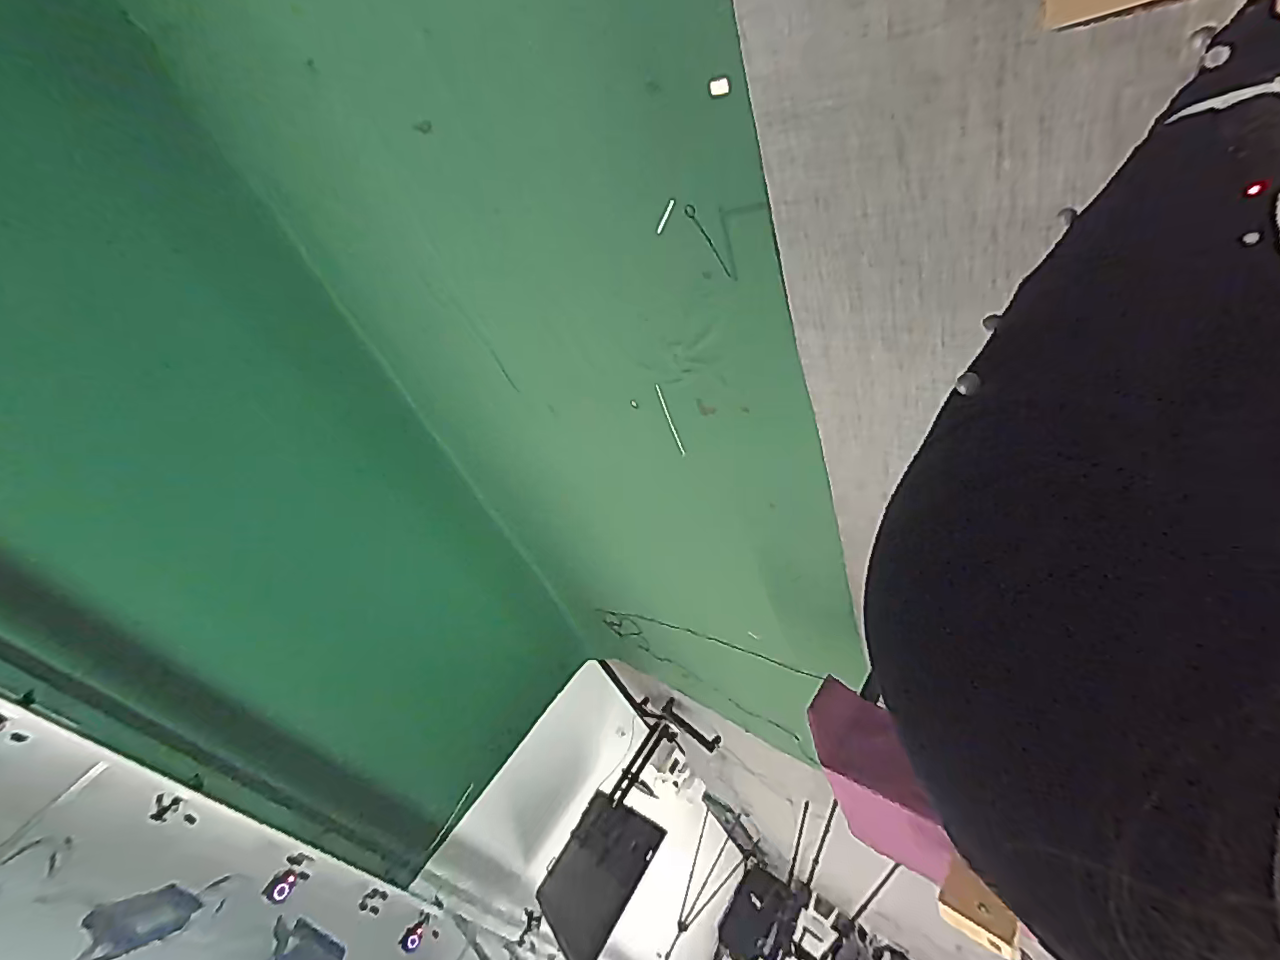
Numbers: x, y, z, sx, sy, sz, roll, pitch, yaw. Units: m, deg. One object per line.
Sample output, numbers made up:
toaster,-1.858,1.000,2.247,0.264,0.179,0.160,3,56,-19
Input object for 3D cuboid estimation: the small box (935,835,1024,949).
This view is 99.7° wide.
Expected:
small box,0.944,1.135,1.499,0.179,0.176,0.168,13,141,43
